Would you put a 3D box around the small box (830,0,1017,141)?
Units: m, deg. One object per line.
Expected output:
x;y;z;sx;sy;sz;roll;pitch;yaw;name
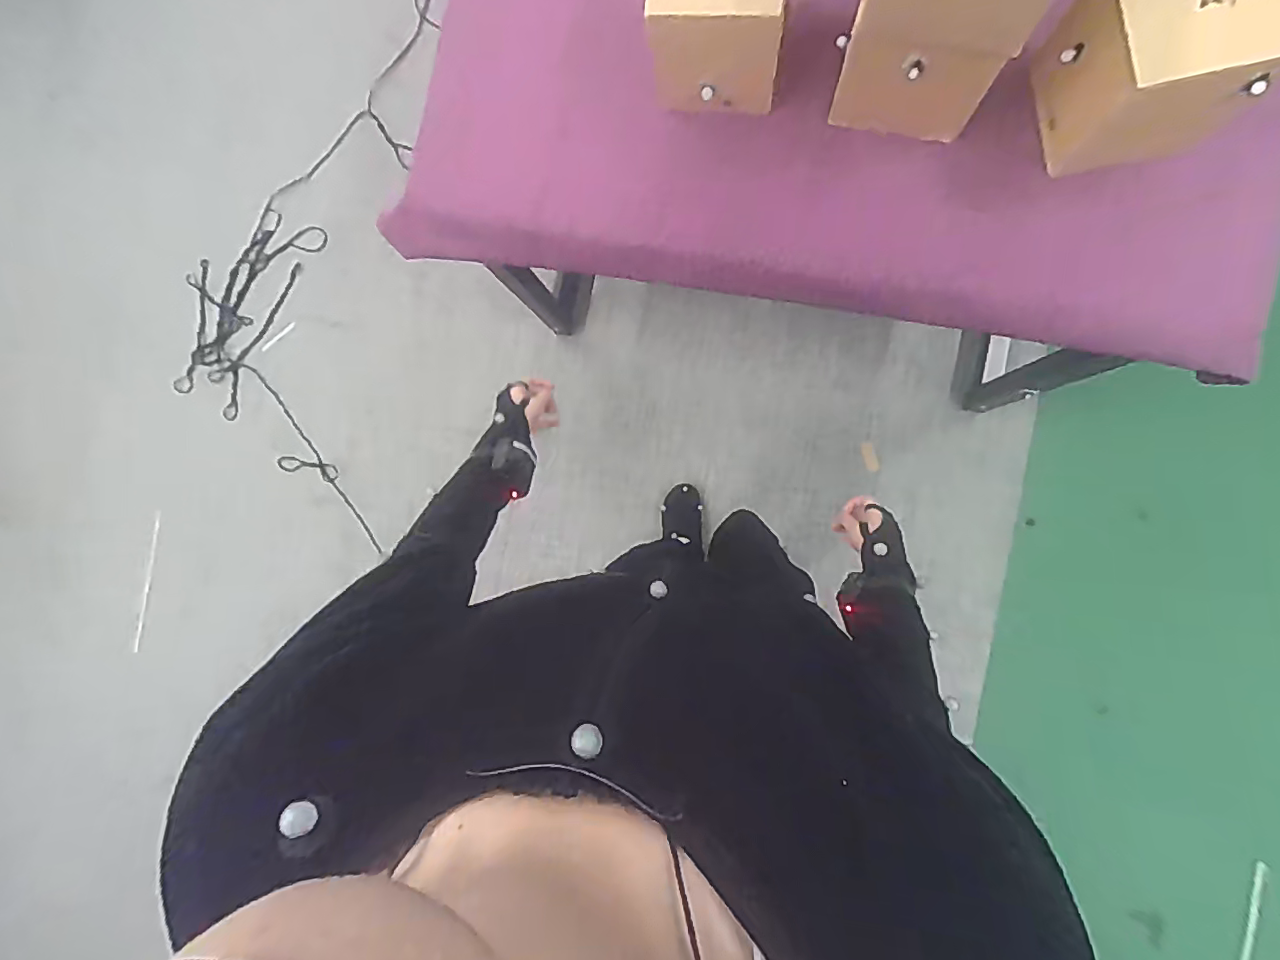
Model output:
0.354;-0.561;0.674;0.179;0.176;0.168;16;91;8;small box

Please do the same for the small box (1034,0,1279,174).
0.602;-0.495;0.636;0.179;0.176;0.168;-8;87;8;small box

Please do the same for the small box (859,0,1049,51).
0.334;-0.557;0.510;0.179;0.176;0.168;17;91;9;small box

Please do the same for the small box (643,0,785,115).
0.106;-0.627;0.710;0.168;0.176;0.179;9;90;8;small box
